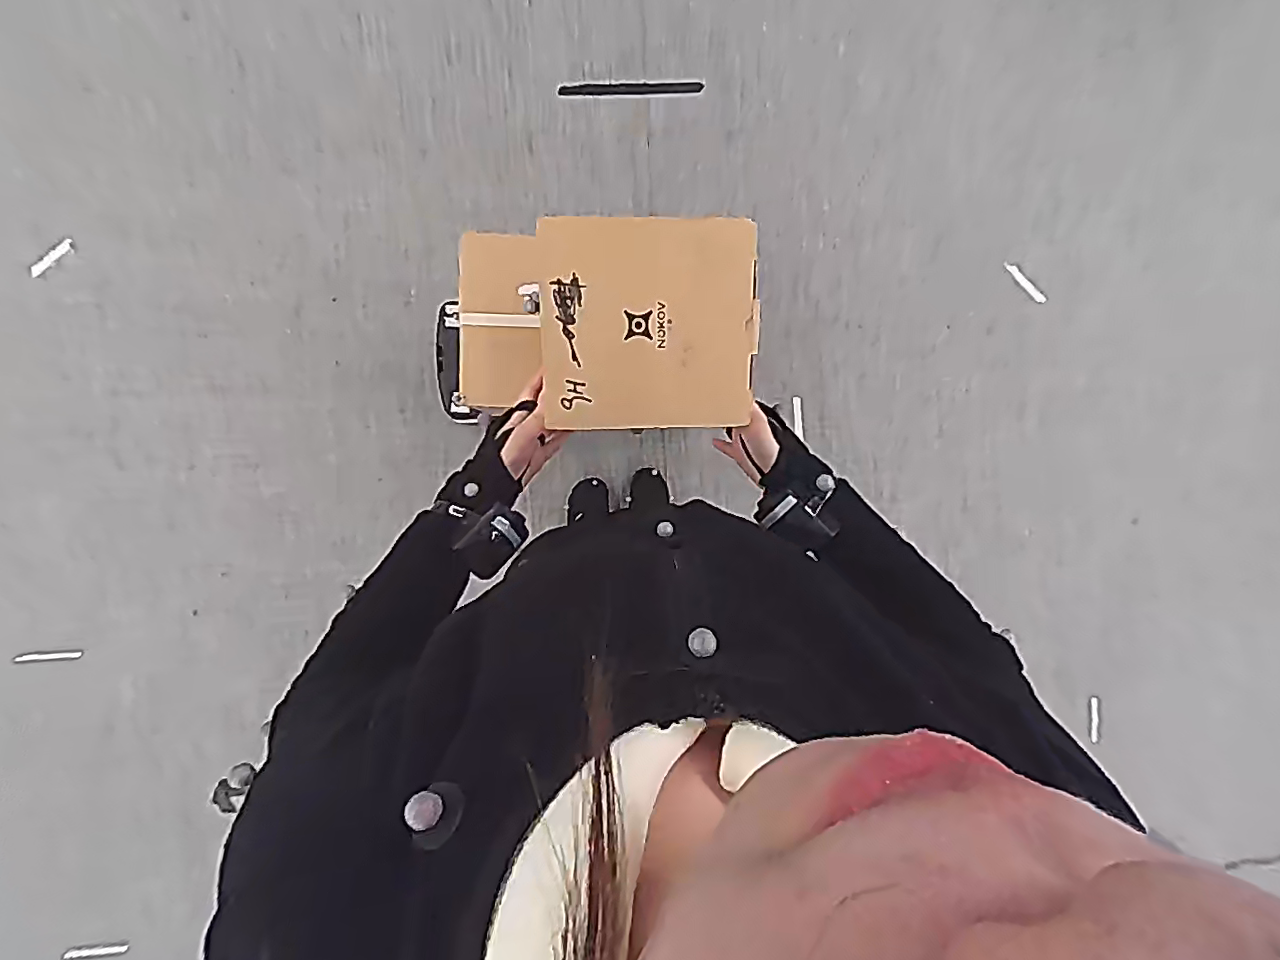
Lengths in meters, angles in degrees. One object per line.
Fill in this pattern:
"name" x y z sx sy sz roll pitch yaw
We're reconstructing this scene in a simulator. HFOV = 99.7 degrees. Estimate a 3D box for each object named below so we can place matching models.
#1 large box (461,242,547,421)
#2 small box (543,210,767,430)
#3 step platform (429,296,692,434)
"large box" -0.132 -0.283 1.135 0.408 0.320 0.320 1 92 -4
"small box" 0.003 -0.136 0.503 0.179 0.176 0.168 -1 100 -6
"step platform" -0.170 -0.282 1.371 0.684 0.204 0.286 3 92 -4
